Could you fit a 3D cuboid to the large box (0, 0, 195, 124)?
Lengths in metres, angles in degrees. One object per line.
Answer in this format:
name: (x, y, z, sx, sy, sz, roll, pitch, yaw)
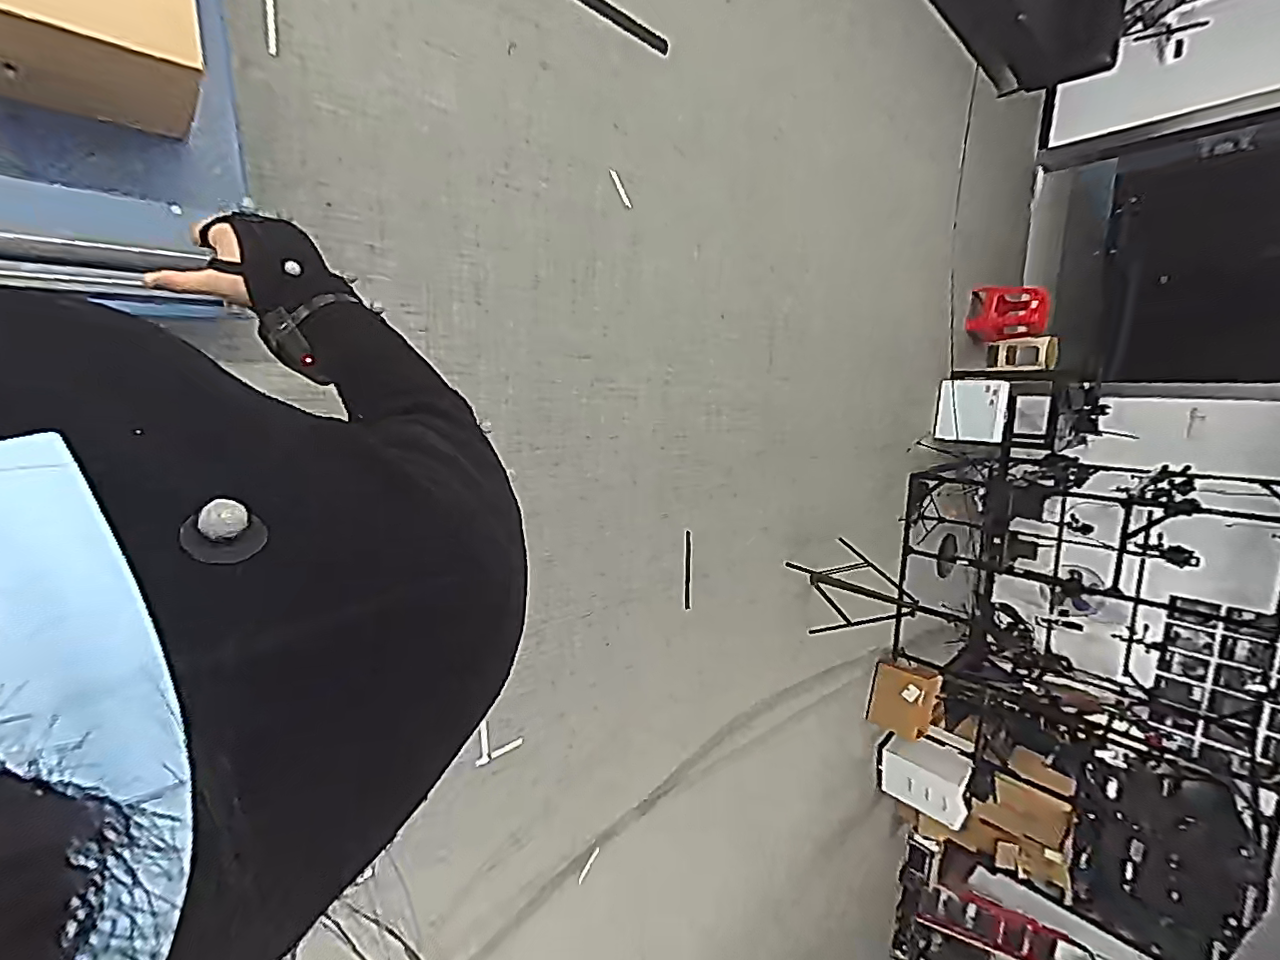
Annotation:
large box: (-0.876, -0.739, 0.713, 0.408, 0.320, 0.320, -9, 104, -41)
